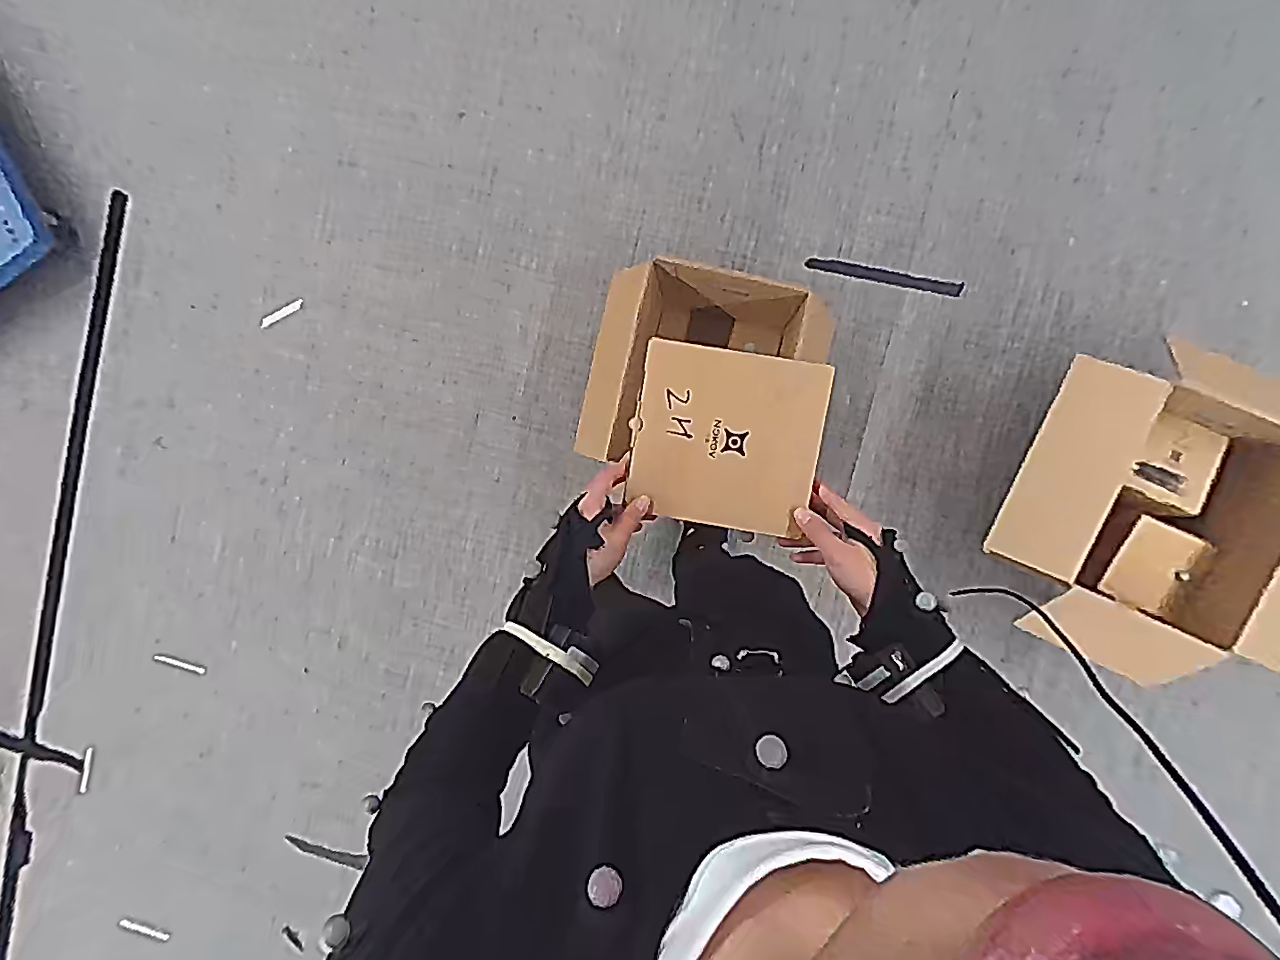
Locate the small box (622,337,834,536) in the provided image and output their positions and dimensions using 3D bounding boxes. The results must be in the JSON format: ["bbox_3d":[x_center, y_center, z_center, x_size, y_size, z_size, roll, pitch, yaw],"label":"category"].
[{"bbox_3d":[0.086,-0.047,0.586,0.179,0.176,0.168,10,95,4],"label":"small box"}]
